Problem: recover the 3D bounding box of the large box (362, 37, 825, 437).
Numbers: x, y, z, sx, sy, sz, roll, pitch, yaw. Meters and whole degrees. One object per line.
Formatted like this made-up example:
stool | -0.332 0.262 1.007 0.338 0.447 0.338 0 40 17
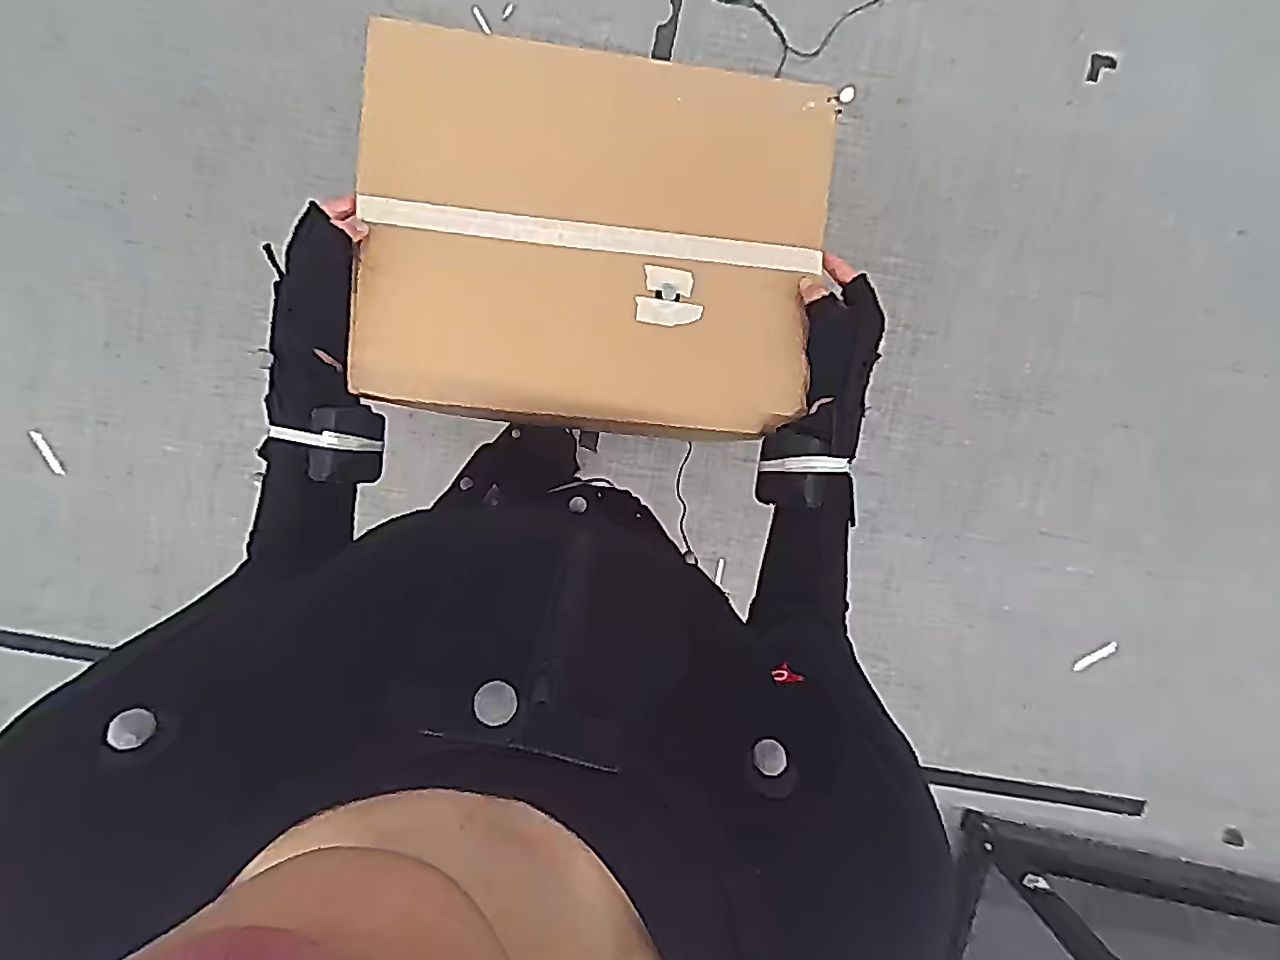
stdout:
large box | -0.053 -0.221 0.633 0.408 0.320 0.320 5 94 -6
